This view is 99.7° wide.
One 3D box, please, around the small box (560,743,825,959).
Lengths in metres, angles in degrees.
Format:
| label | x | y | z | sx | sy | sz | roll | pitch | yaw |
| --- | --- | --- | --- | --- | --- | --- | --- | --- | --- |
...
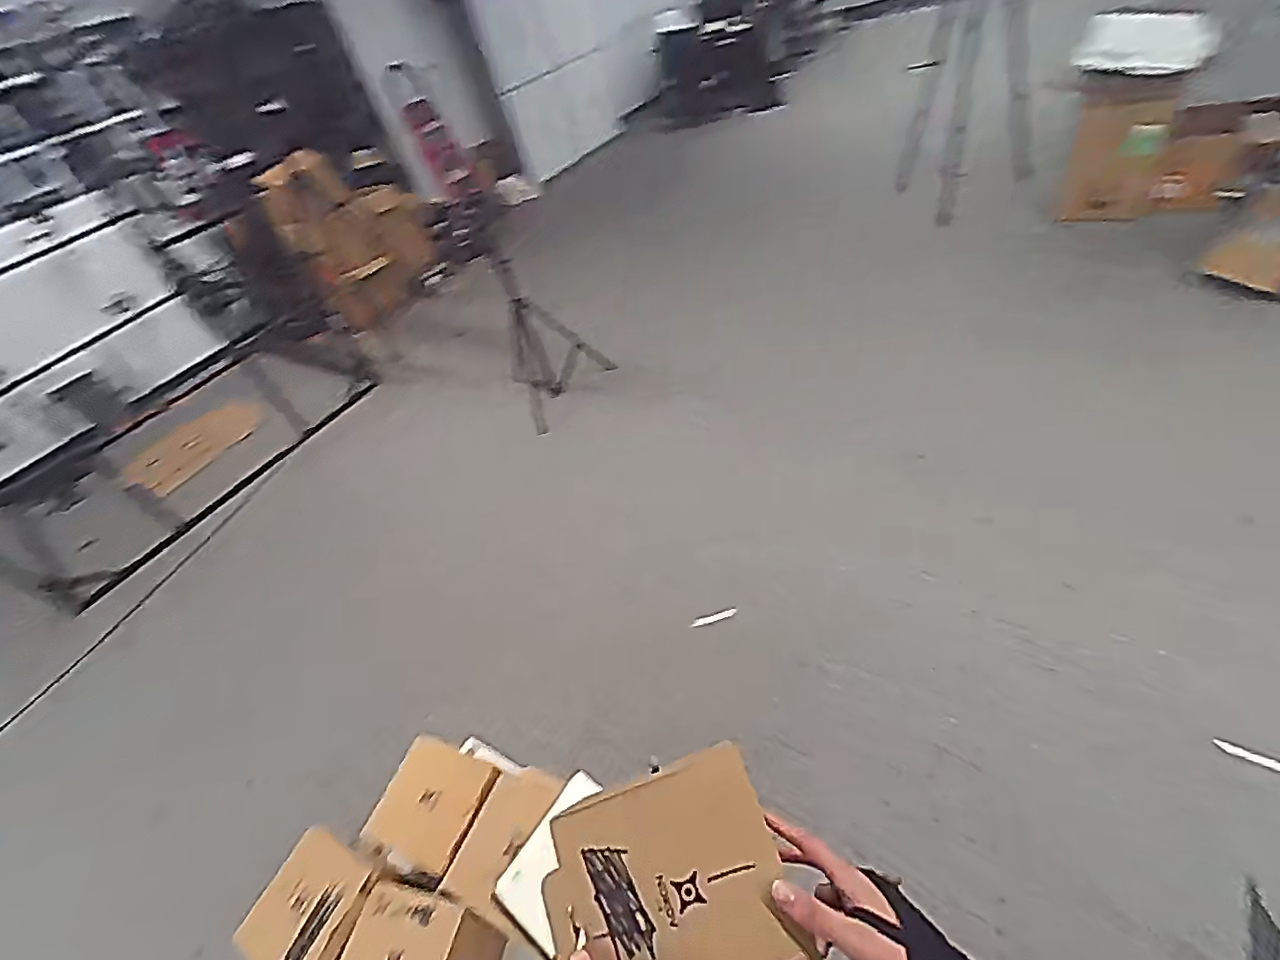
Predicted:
| label | x | y | z | sx | sy | sz | roll | pitch | yaw |
| --- | --- | --- | --- | --- | --- | --- | --- | --- | --- |
| small box | 0.044 | 0.364 | 0.511 | 0.179 | 0.176 | 0.168 | -20 | 66 | -4 |
